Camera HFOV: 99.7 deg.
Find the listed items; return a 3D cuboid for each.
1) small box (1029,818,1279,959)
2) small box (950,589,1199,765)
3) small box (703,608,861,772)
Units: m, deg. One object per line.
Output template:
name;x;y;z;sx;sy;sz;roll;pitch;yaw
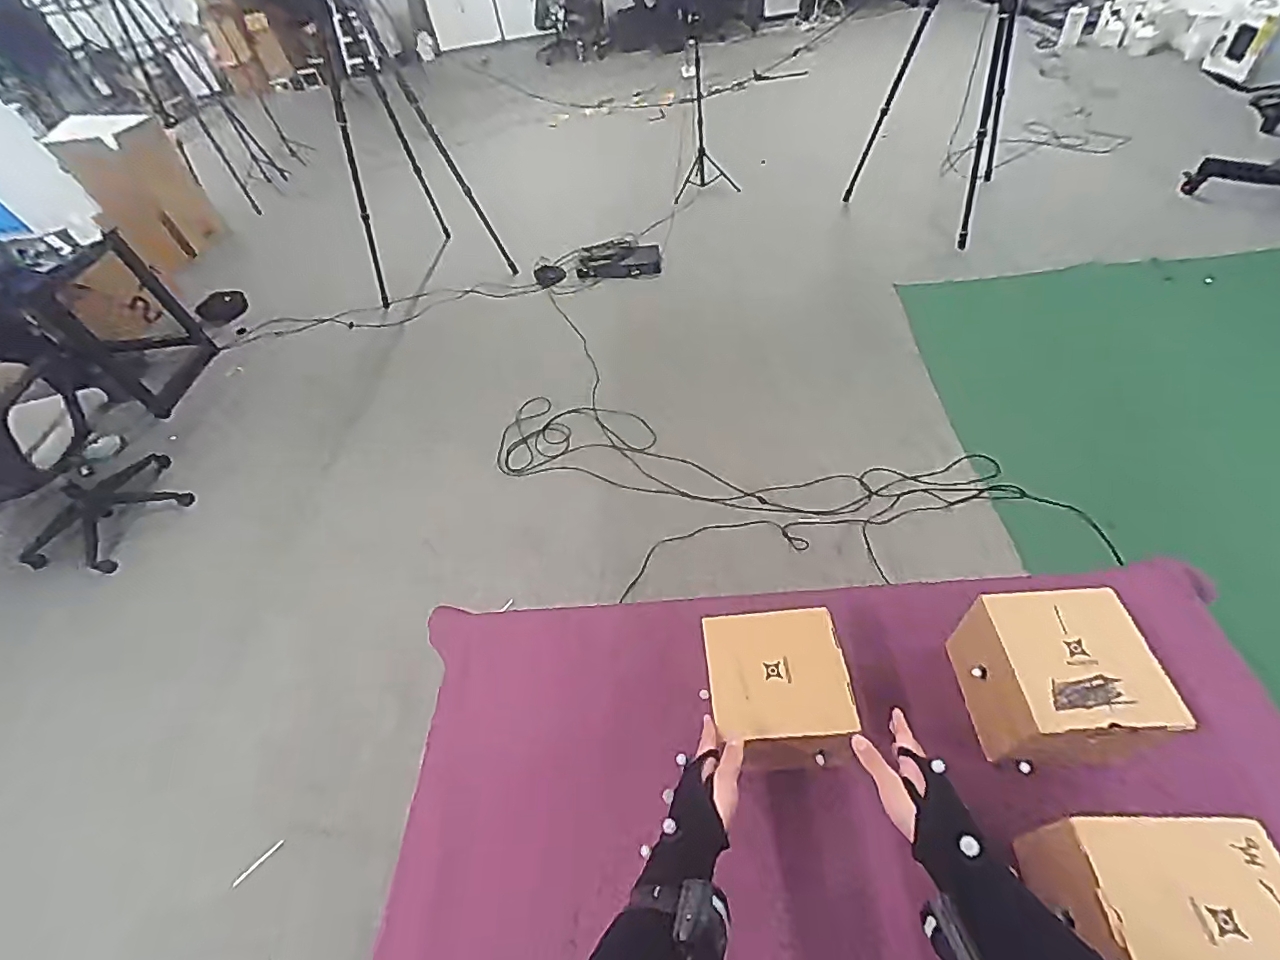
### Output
small box;0.532;0.454;0.544;0.179;0.176;0.168;-4;49;9
small box;0.538;0.262;0.706;0.168;0.176;0.179;-5;49;7
small box;0.183;0.294;0.749;0.179;0.176;0.168;-7;49;6
